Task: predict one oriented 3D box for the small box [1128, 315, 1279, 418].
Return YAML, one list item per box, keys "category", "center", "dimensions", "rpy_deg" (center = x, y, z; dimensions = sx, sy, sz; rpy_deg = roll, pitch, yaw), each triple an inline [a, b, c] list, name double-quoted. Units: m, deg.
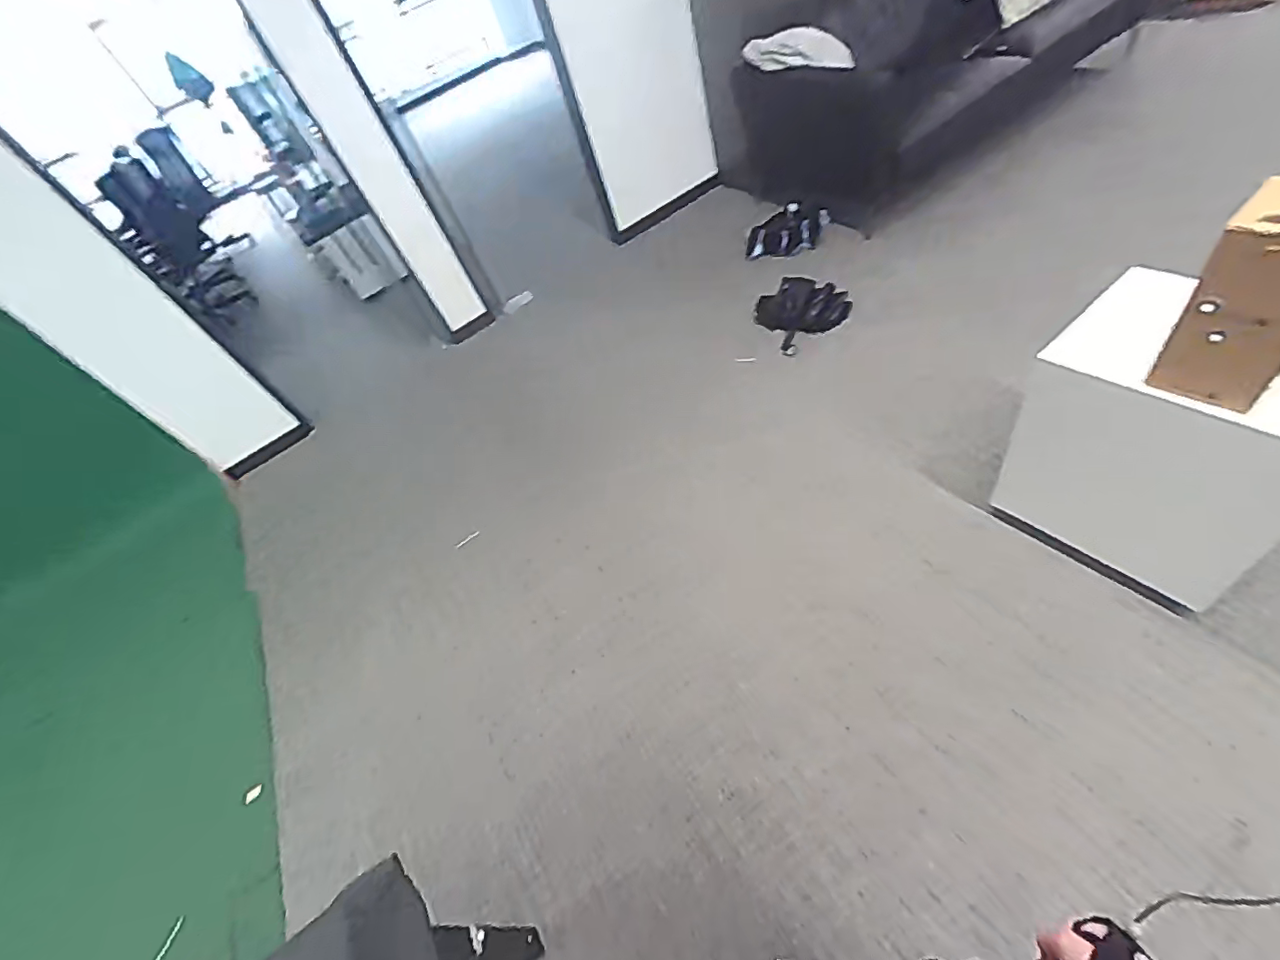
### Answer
- category: "small box"
  center: [1.089, -0.252, 1.035]
  dimensions: [0.179, 0.176, 0.168]
  rpy_deg: [-40, 47, -18]
